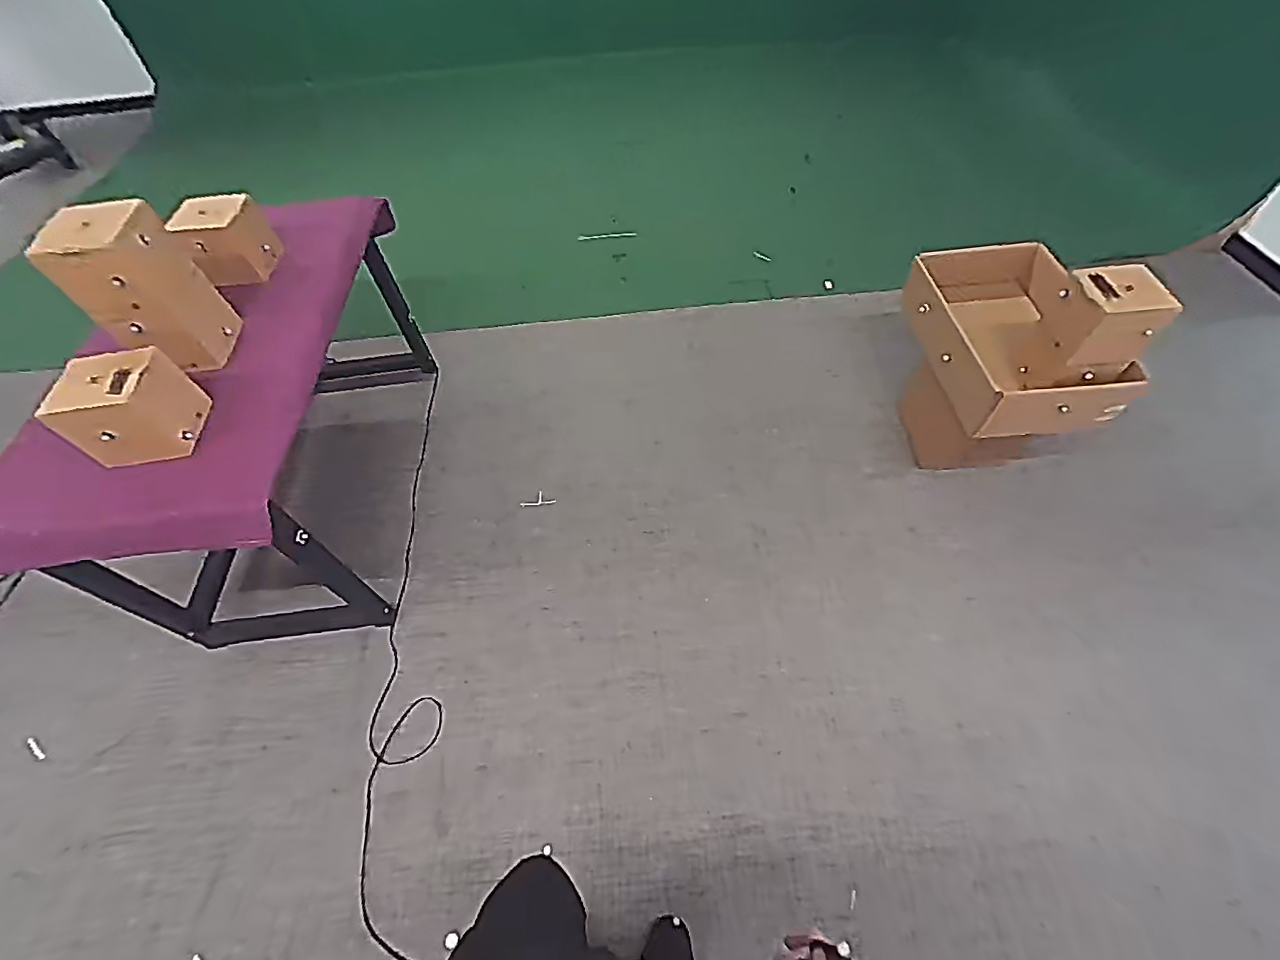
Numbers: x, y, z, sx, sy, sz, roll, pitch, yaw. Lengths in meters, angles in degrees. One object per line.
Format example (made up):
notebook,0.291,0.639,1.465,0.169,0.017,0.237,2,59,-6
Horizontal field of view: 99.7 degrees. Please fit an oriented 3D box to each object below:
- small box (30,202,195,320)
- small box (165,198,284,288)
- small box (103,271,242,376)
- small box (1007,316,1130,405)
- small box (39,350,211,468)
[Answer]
small box,-1.117,-0.464,1.167,0.168,0.176,0.179,-9,55,-3
small box,-1.143,-0.653,1.501,0.179,0.176,0.168,-4,55,1
small box,-1.108,-0.372,1.302,0.168,0.176,0.179,-9,55,-2
small box,1.160,-0.324,1.481,0.179,0.176,0.168,-5,56,2
small box,-1.063,-0.146,1.138,0.179,0.176,0.168,-10,54,-1
